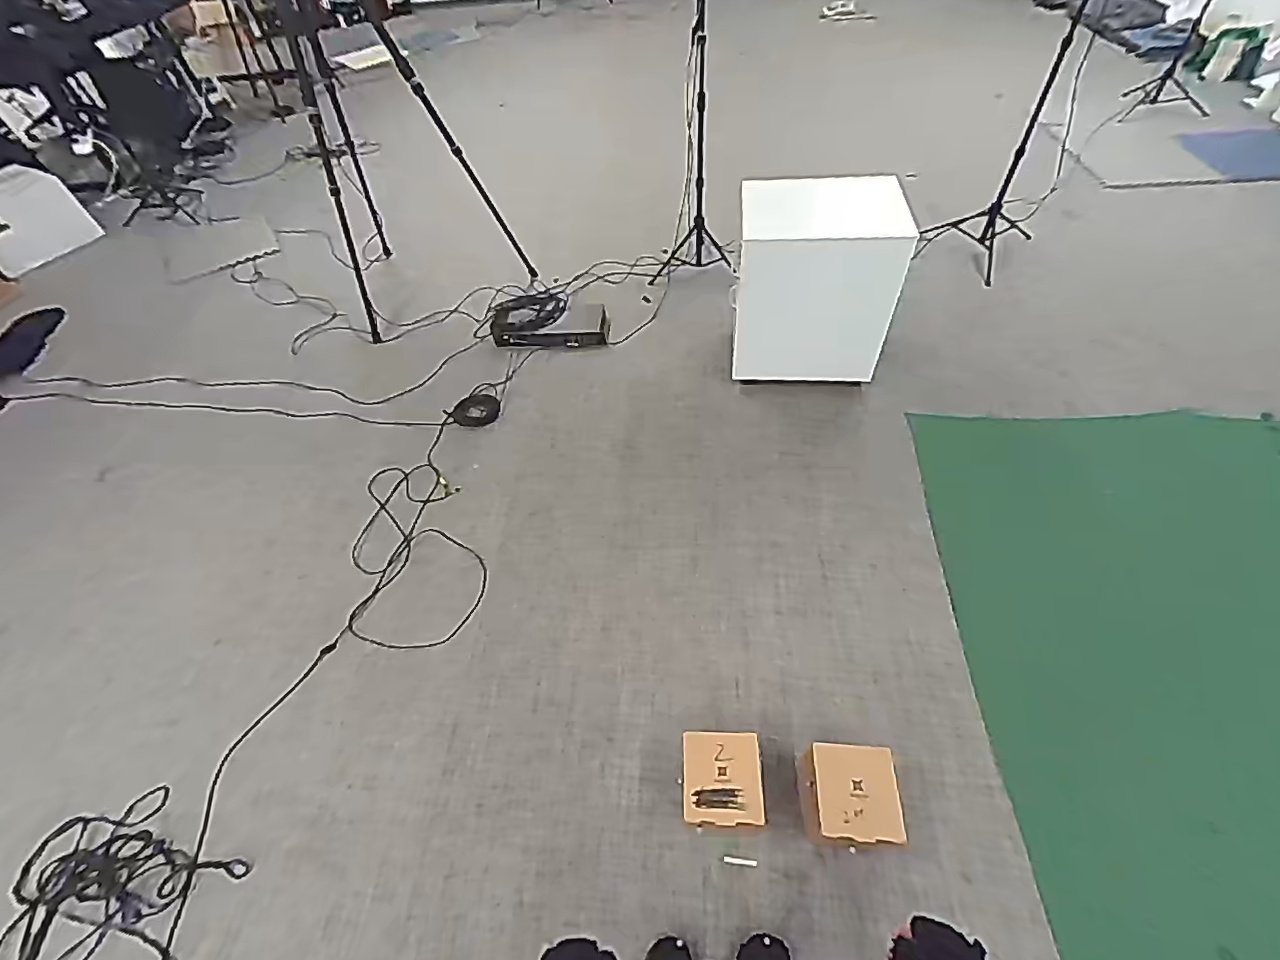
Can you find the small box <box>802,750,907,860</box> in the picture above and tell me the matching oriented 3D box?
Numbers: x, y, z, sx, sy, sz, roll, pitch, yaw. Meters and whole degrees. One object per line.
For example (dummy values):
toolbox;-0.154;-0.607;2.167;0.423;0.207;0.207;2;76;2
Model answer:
small box;0.456;0.711;1.180;0.168;0.176;0.179;1;52;7
